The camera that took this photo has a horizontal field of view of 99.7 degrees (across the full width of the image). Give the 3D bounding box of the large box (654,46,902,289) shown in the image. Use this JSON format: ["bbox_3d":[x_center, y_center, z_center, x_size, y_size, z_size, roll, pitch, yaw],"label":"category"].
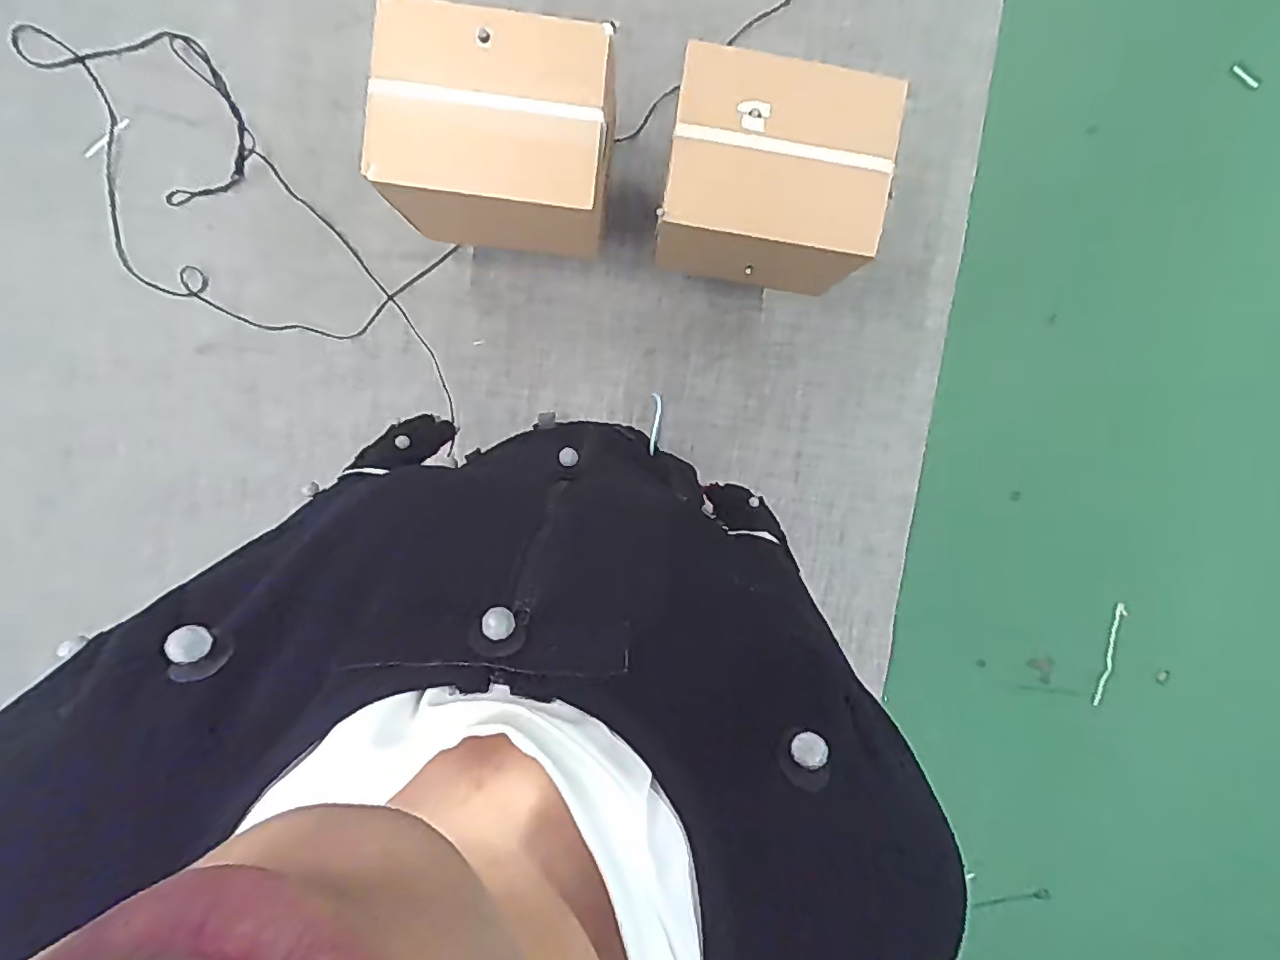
[{"bbox_3d":[0.257,-0.614,1.133,0.408,0.320,0.320,9,95,-3],"label":"large box"}]
